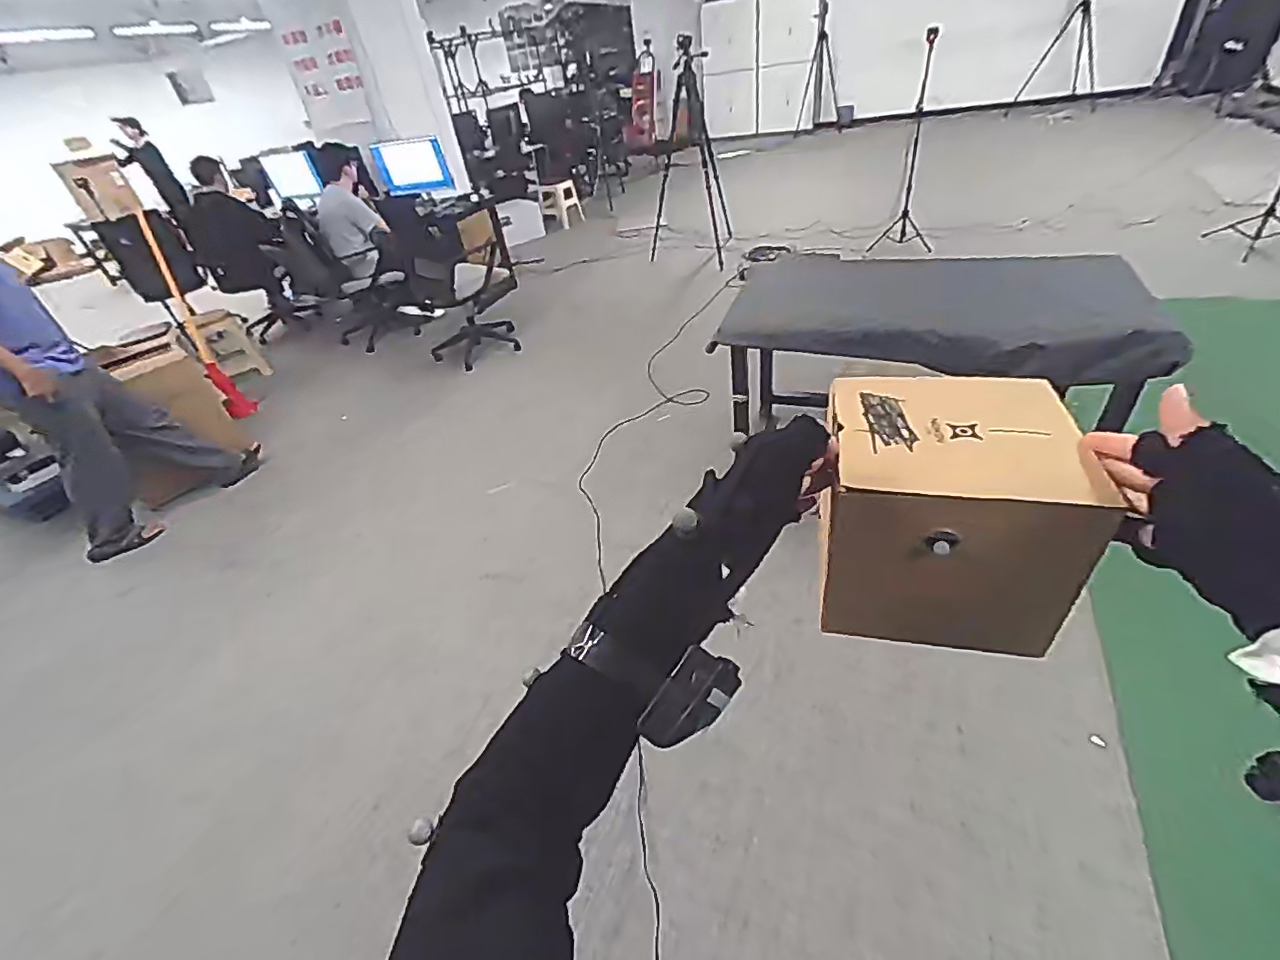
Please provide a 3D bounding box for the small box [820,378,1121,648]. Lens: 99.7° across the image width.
[{"bbox_3d":[0.254,0.025,0.473,0.179,0.176,0.168,4,40,15],"label":"small box"}]
